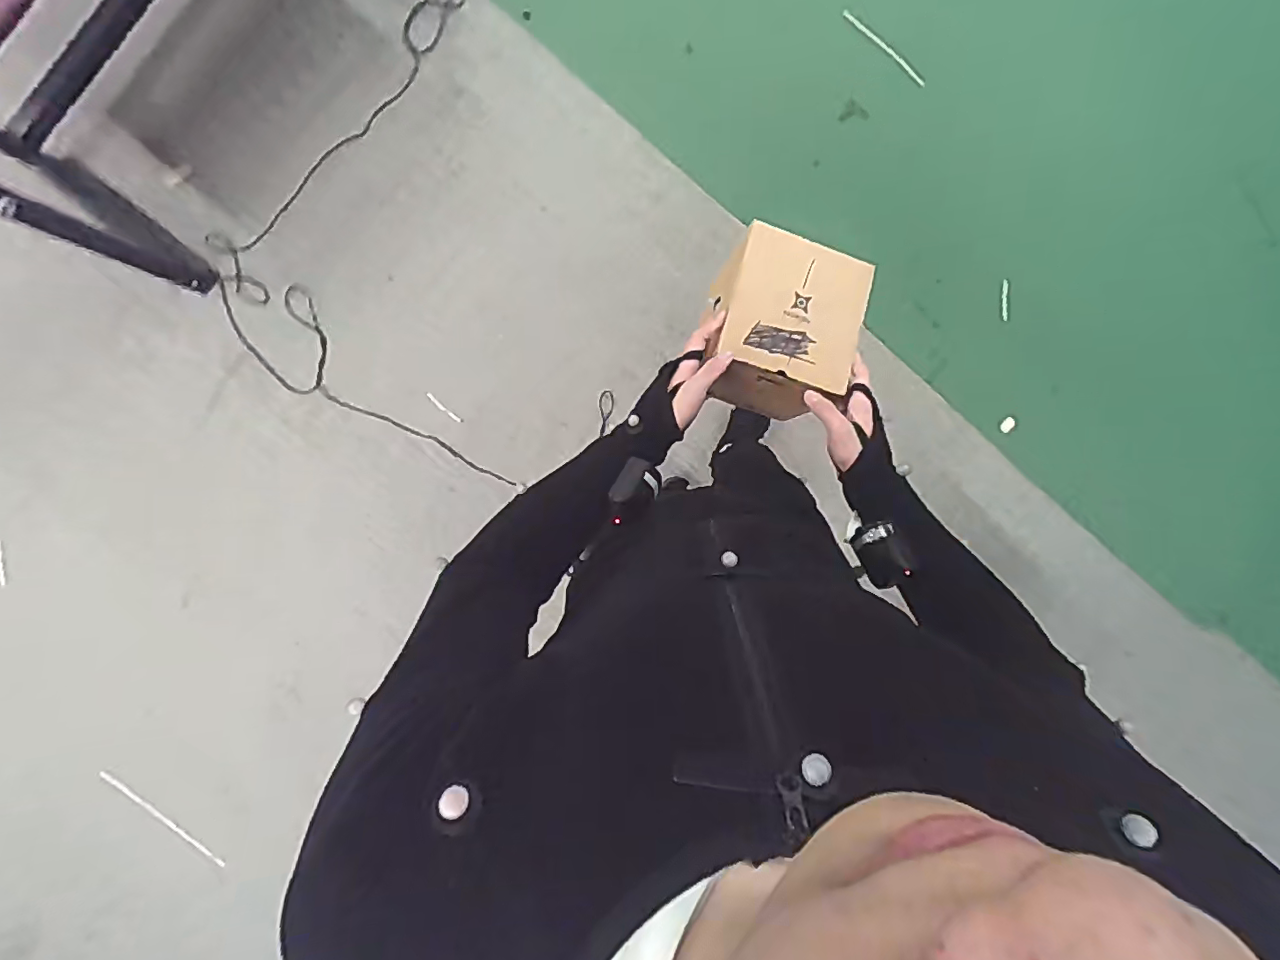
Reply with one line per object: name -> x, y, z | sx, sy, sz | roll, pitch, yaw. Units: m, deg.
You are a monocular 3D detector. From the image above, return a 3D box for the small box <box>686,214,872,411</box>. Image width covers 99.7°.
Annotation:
small box -> 0.170, -0.204, 0.716 | 0.168, 0.176, 0.179 | 16, 84, -8
